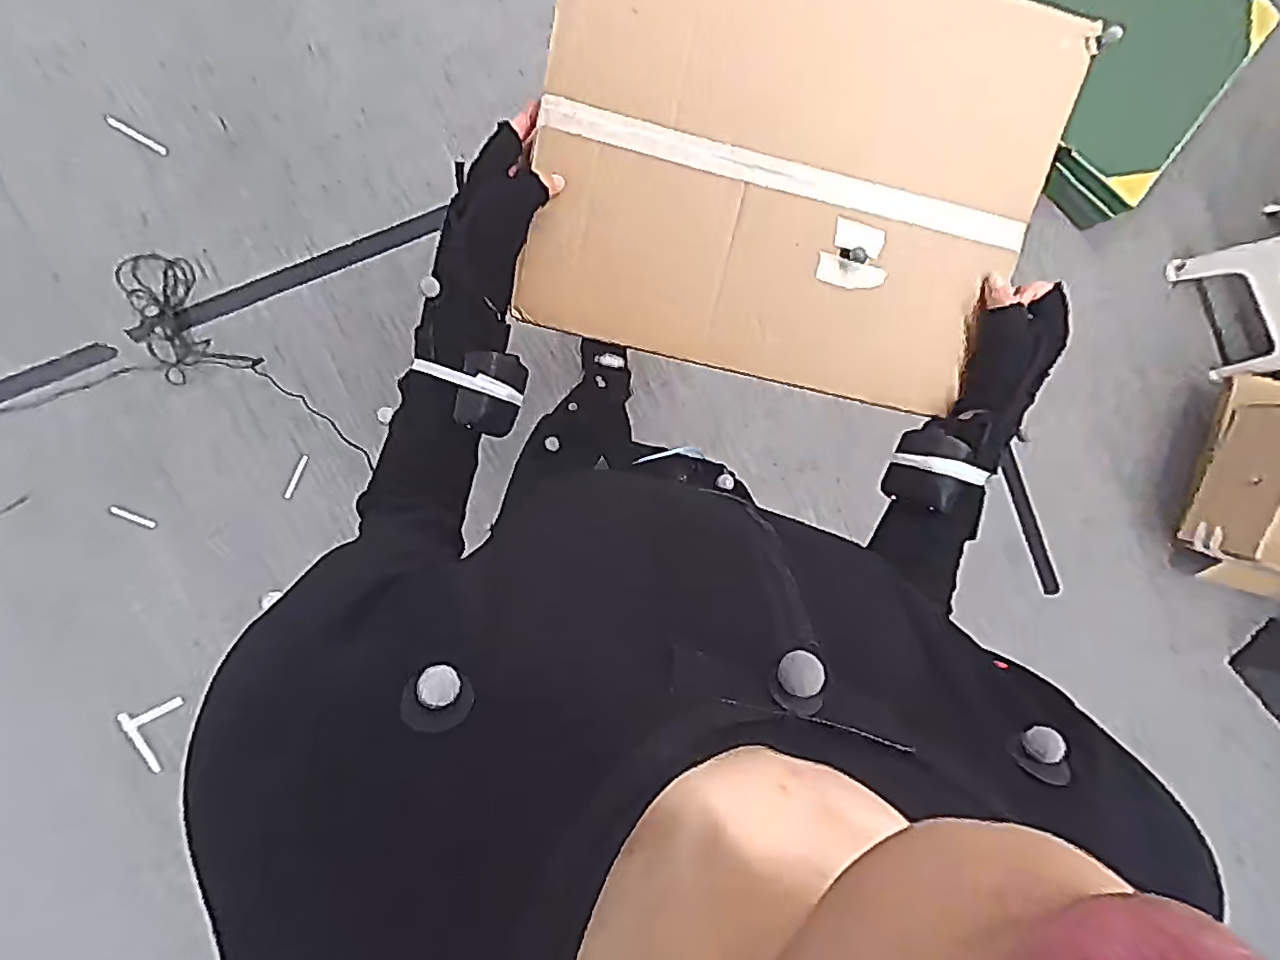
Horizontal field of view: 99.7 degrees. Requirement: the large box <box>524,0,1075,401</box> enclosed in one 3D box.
[{"bbox_3d":[0.113,-0.294,0.589,0.408,0.320,0.320,12,106,-7],"label":"large box"}]
